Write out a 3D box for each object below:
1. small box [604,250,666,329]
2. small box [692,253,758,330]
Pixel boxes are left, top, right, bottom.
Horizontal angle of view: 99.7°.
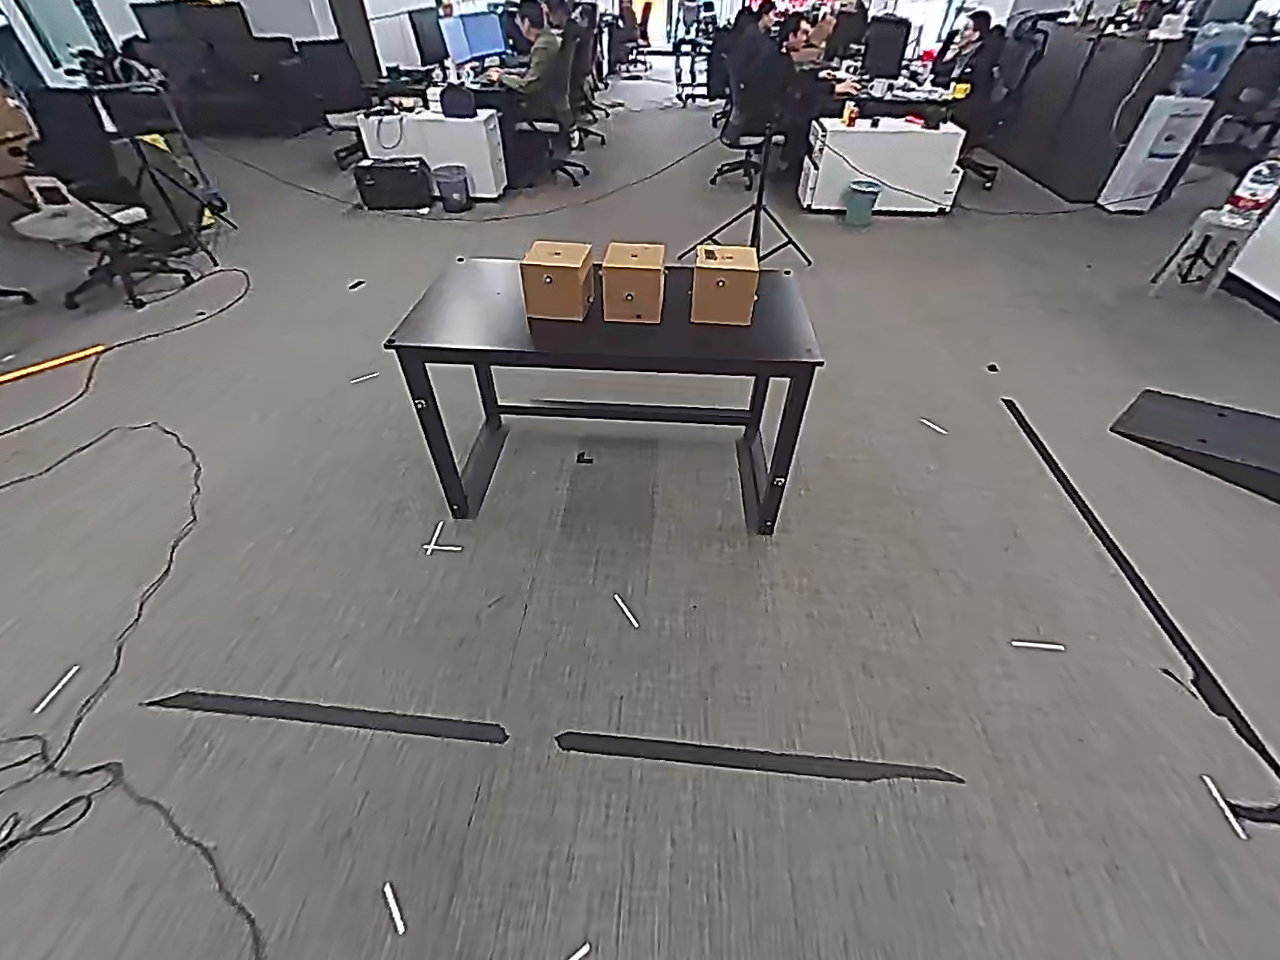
[{"bbox_3d":[-0.012,-0.568,1.618,0.168,0.176,0.179,4,44,3],"label":"small box"},{"bbox_3d":[0.249,-0.561,1.611,0.179,0.176,0.168,5,43,4],"label":"small box"}]
